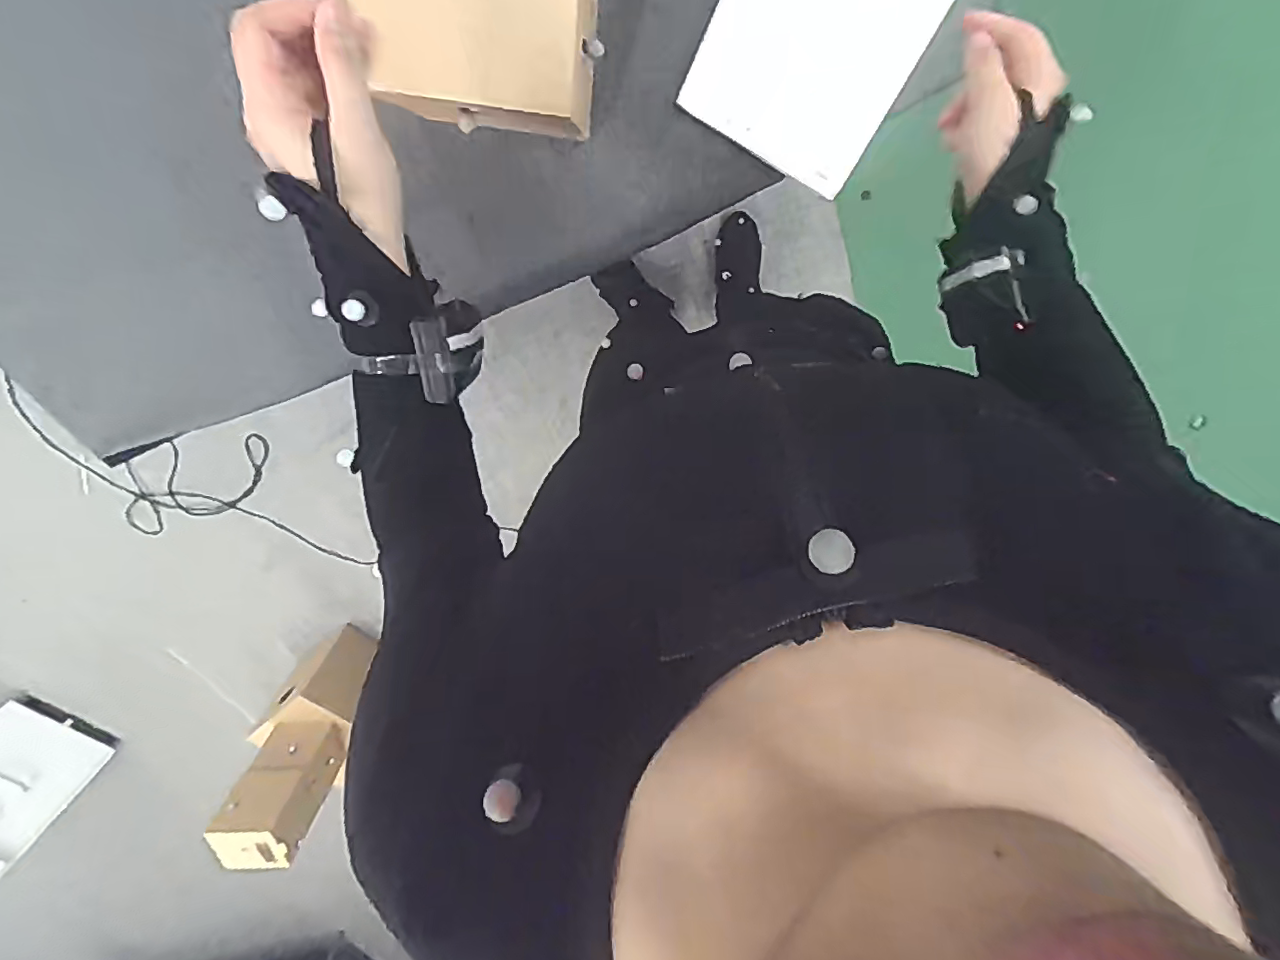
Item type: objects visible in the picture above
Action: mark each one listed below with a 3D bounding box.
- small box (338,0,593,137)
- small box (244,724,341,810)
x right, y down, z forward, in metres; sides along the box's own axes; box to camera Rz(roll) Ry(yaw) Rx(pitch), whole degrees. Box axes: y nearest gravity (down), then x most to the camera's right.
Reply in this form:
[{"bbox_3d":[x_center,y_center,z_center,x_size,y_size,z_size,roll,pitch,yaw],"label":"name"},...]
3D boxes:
[{"bbox_3d":[-0.133,-0.402,0.459,0.179,0.176,0.168,6,117,-2],"label":"small box"},{"bbox_3d":[-1.023,0.852,1.616,0.179,0.176,0.168,-2,118,-2],"label":"small box"}]
